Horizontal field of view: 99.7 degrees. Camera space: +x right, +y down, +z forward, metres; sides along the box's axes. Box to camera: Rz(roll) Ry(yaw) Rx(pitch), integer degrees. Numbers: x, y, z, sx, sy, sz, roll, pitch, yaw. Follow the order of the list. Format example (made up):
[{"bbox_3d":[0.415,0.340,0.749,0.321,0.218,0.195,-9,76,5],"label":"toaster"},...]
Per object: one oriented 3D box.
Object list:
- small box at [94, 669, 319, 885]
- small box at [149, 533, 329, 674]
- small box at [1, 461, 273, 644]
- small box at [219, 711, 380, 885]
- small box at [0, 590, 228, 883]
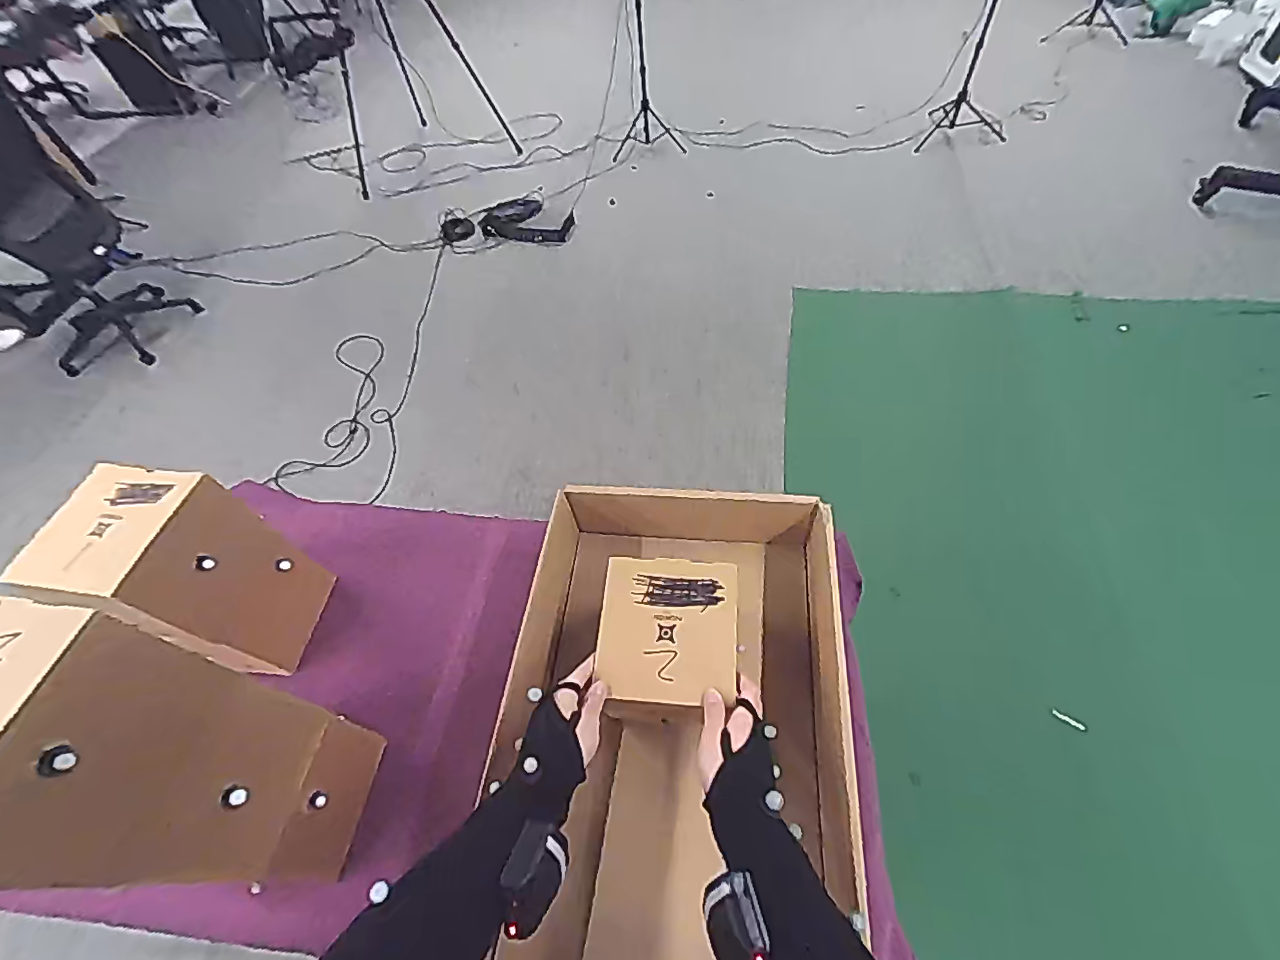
[{"bbox_3d":[-0.482,0.301,0.565,0.168,0.176,0.179,4,55,7],"label":"small box"},{"bbox_3d":[-0.638,0.197,0.860,0.168,0.176,0.179,2,54,7],"label":"small box"},{"bbox_3d":[-0.644,0.099,0.727,0.168,0.176,0.179,5,56,10],"label":"small box"},{"bbox_3d":[-0.470,0.400,0.695,0.168,0.176,0.179,4,53,8],"label":"small box"},{"bbox_3d":[-0.490,0.203,0.432,0.168,0.176,0.179,5,54,8],"label":"small box"}]
